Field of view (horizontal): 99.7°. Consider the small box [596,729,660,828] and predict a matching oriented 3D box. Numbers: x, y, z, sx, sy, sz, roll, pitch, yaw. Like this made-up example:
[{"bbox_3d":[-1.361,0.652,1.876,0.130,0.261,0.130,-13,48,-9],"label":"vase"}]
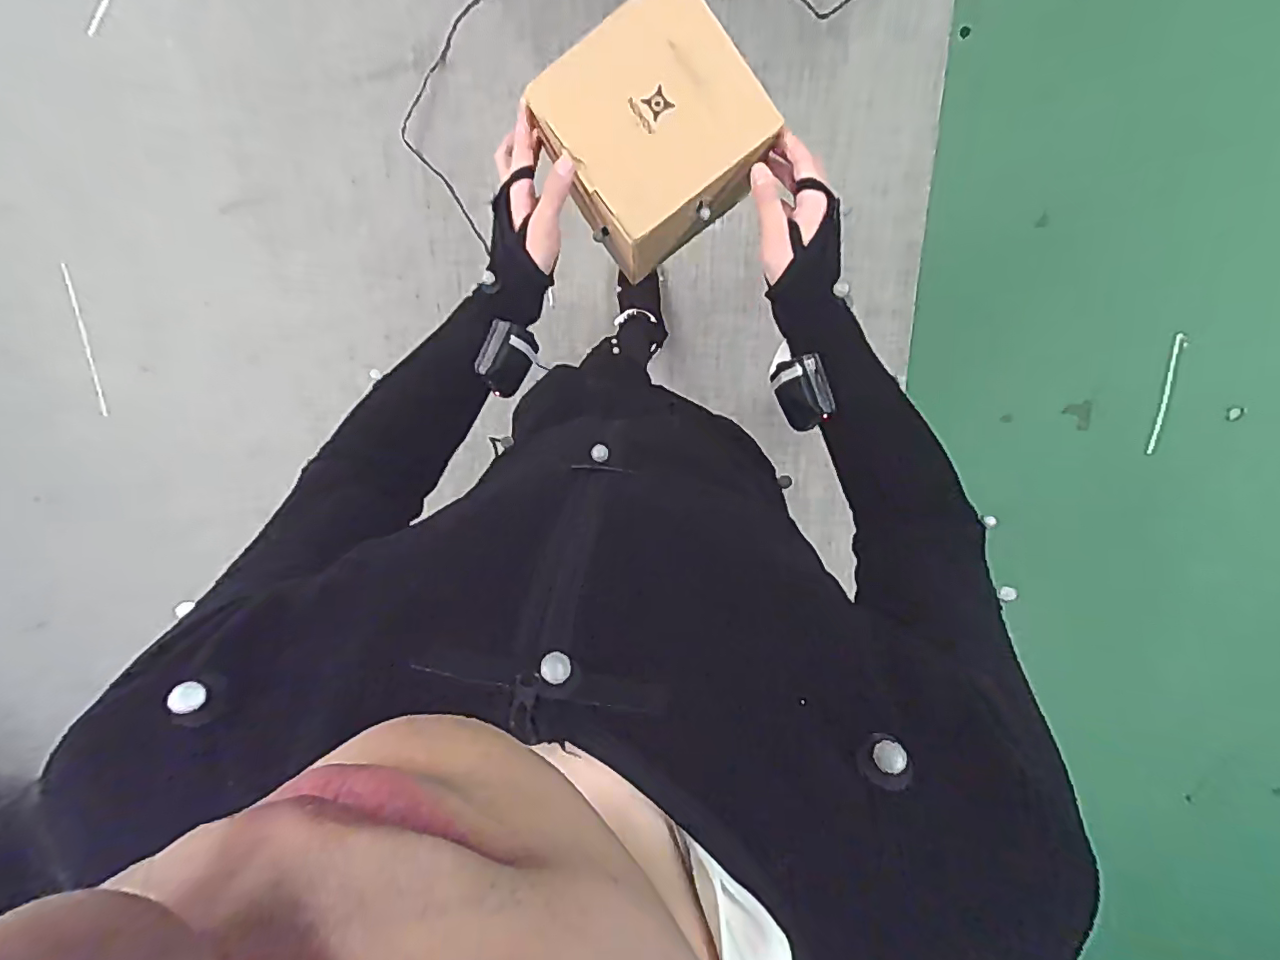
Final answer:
[{"bbox_3d":[-0.030,0.855,1.559,0.168,0.176,0.179,3,105,6],"label":"small box"}]
